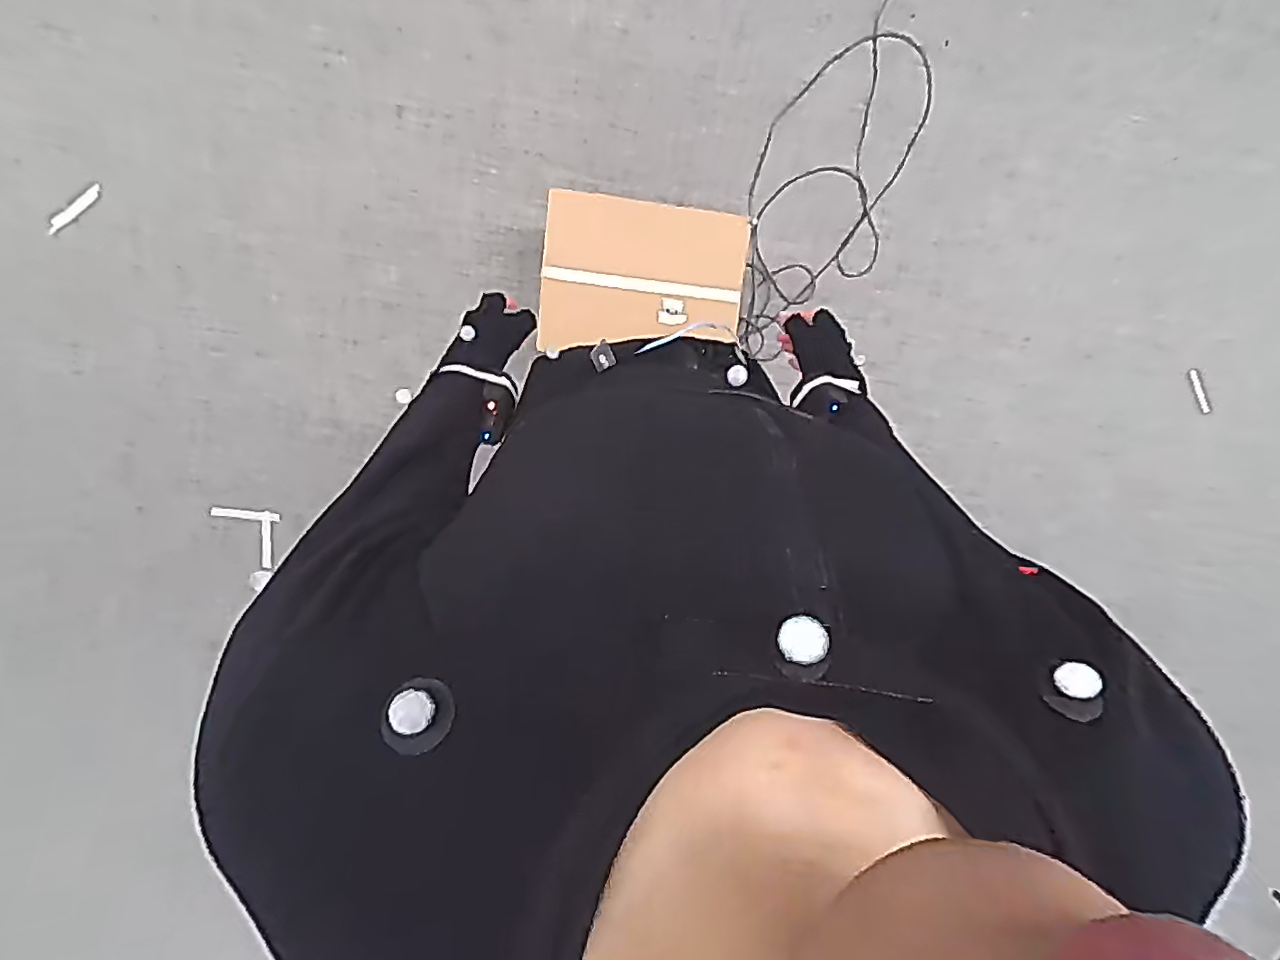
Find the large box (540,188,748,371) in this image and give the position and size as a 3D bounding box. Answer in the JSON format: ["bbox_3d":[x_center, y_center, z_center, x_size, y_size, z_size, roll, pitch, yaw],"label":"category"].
[{"bbox_3d":[-0.007,-0.430,1.243,0.408,0.320,0.320,6,101,-6],"label":"large box"}]
